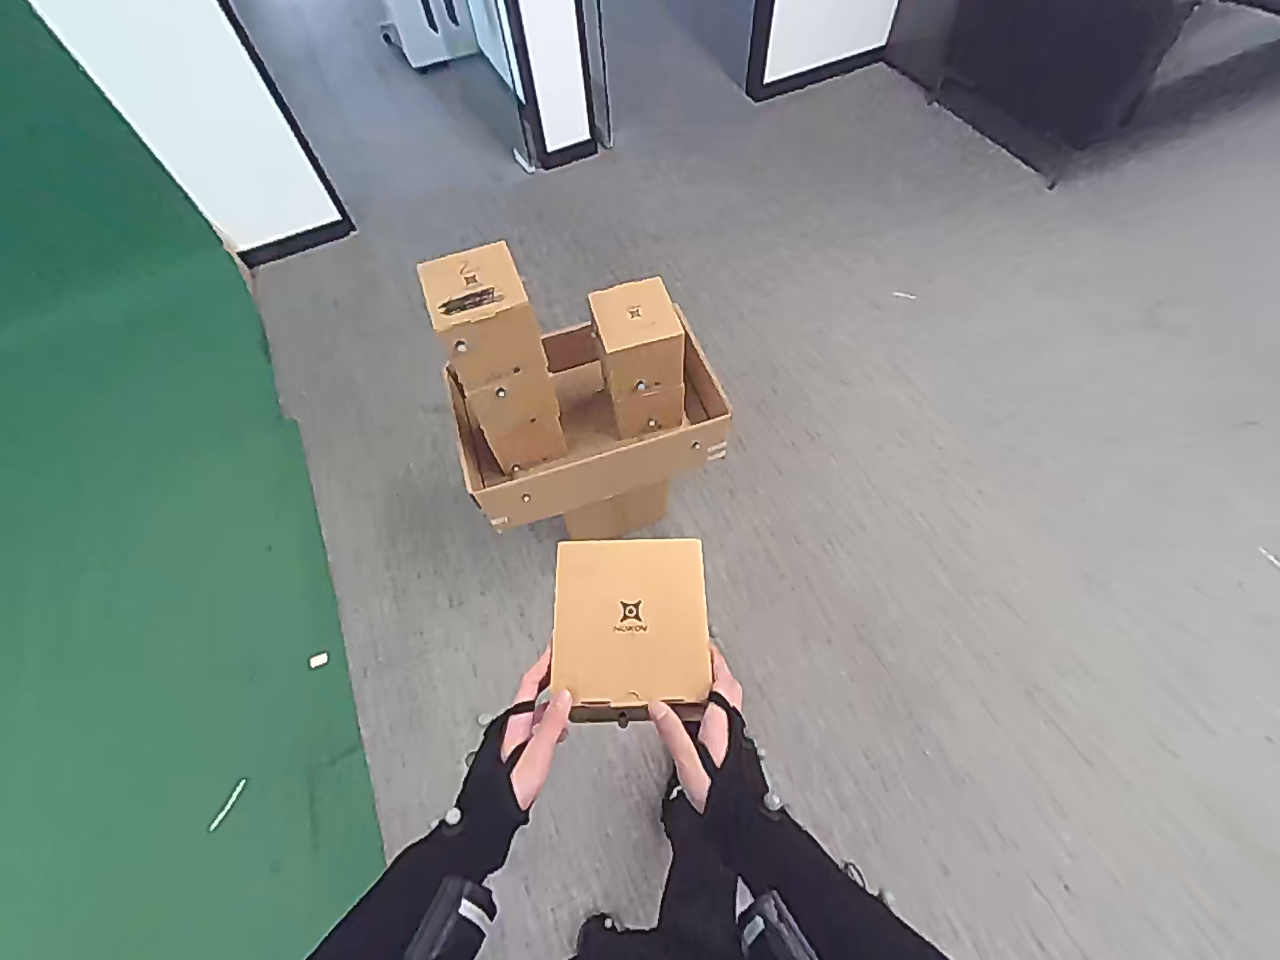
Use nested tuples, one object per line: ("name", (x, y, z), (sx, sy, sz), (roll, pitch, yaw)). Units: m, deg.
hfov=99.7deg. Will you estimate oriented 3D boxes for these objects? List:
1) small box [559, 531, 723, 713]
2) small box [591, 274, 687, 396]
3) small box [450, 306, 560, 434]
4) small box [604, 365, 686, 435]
("small box", (-0.003, 0.173, 0.640), (0.168, 0.176, 0.179), (-1, 62, -1))
("small box", (-0.004, -0.312, 1.178), (0.168, 0.176, 0.179), (-15, 62, -5))
("small box", (-0.281, -0.229, 1.143), (0.168, 0.176, 0.179), (-20, 63, -8))
("small box", (0.007, -0.237, 1.322), (0.168, 0.176, 0.179), (-14, 63, -5))
